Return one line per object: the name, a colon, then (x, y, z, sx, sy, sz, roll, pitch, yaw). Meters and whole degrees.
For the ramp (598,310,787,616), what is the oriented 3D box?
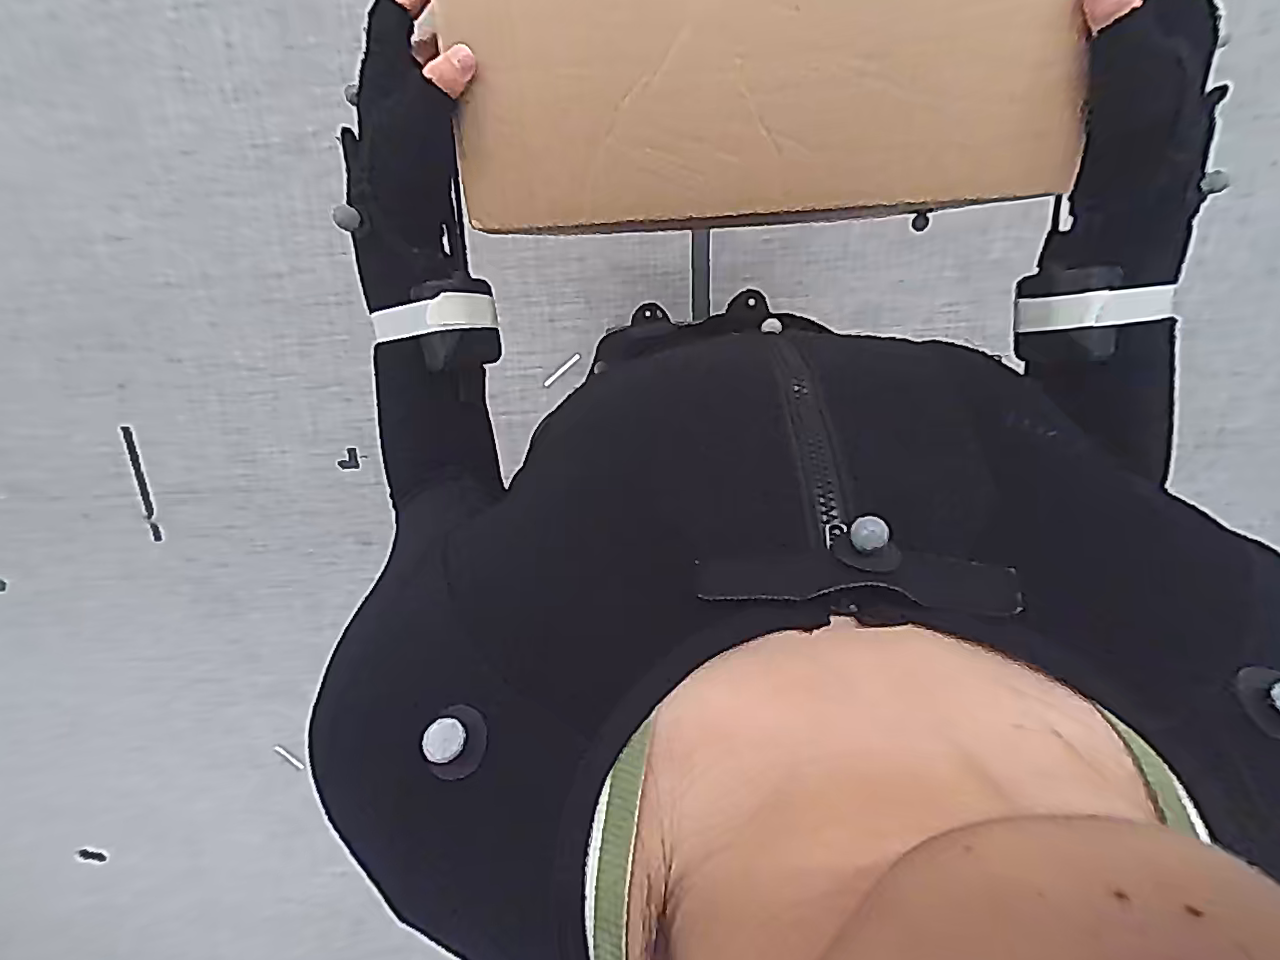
ramp: (0.162, 0.014, 1.613, 0.509, 0.206, 0.991, -4, 108, 2)

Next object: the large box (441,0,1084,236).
large box: (0.076, -0.388, 0.454, 0.408, 0.320, 0.320, -3, 113, 2)
